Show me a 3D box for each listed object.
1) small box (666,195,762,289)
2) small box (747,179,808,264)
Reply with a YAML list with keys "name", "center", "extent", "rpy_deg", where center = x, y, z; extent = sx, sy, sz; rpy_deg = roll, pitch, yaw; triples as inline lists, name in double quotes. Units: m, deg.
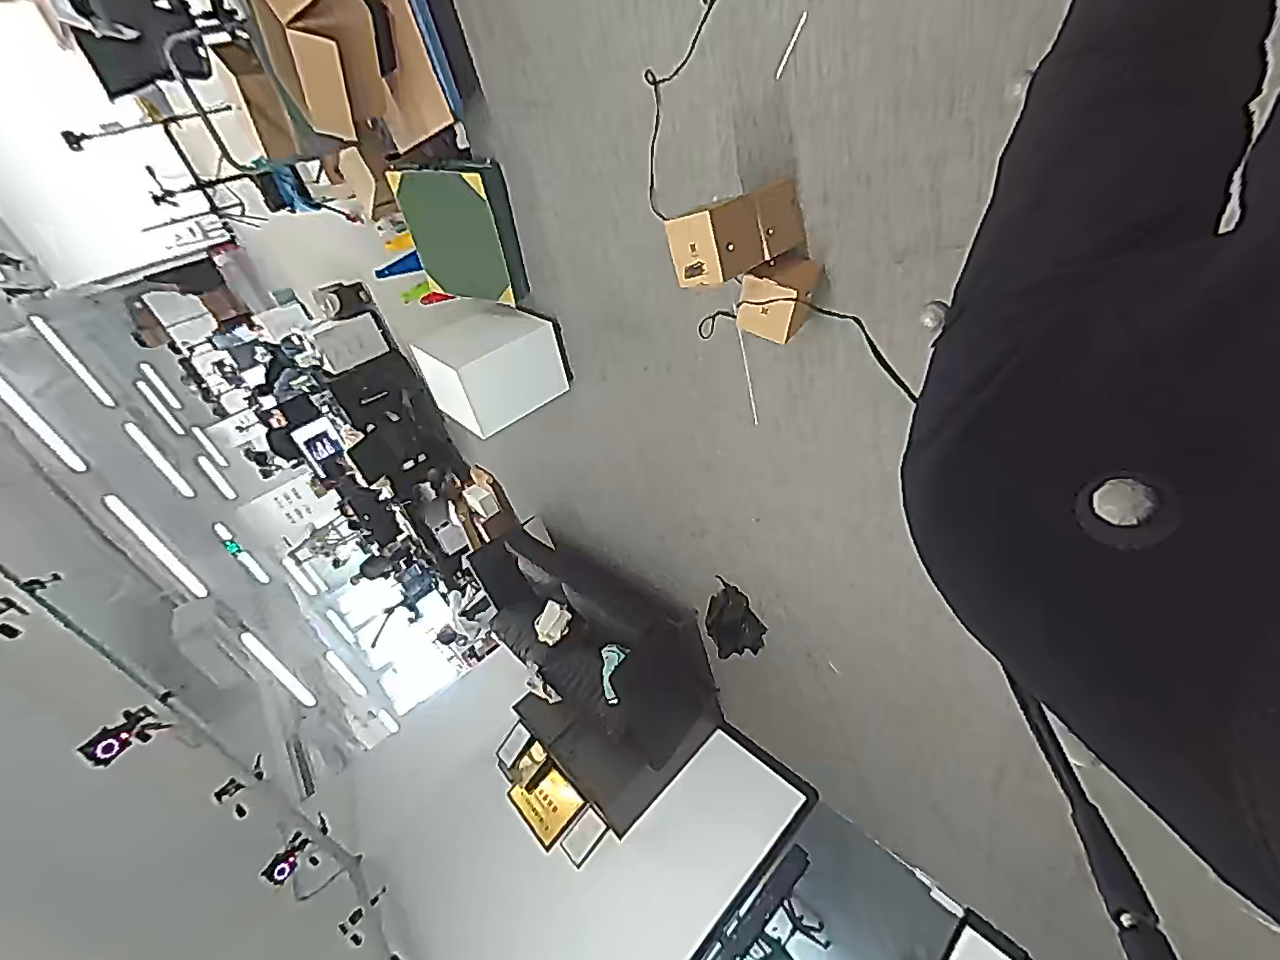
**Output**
- name: "small box"
  center: [0.201, -0.623, 1.425]
  extent: [0.168, 0.176, 0.179]
  rpy_deg: [17, 134, 49]
- name: "small box"
  center: [0.330, -0.701, 1.500]
  extent: [0.179, 0.176, 0.168]
  rpy_deg: [10, 133, 55]
